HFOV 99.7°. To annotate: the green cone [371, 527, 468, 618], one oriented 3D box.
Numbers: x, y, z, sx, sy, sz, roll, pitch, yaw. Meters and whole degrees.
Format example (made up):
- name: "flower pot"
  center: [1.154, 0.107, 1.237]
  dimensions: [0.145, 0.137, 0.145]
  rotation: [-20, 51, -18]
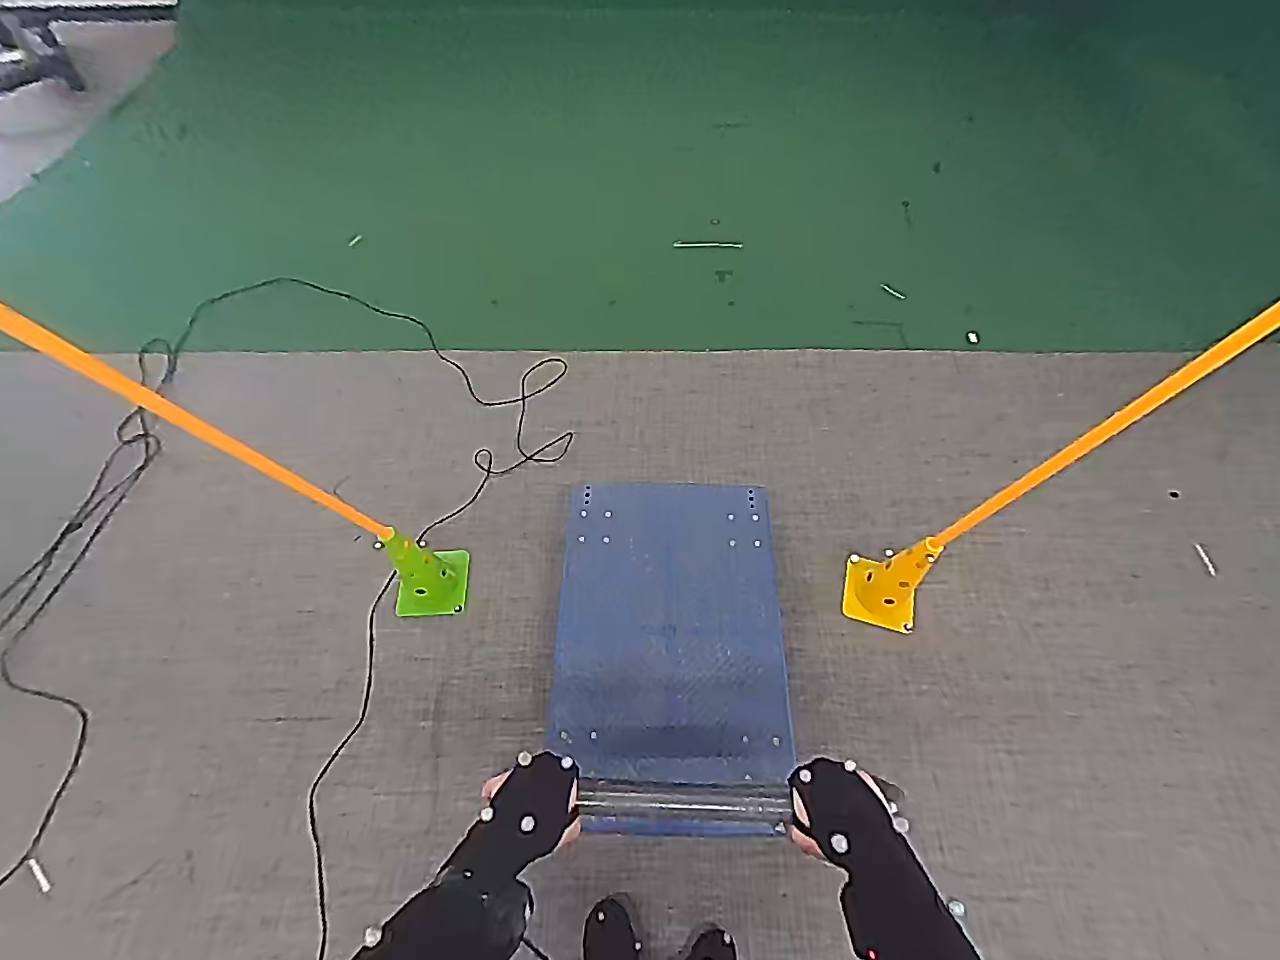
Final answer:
- name: "green cone"
  center: [-0.627, 0.220, 1.475]
  dimensions: [0.202, 0.368, 0.200]
  rotation: [-4, 59, 0]
